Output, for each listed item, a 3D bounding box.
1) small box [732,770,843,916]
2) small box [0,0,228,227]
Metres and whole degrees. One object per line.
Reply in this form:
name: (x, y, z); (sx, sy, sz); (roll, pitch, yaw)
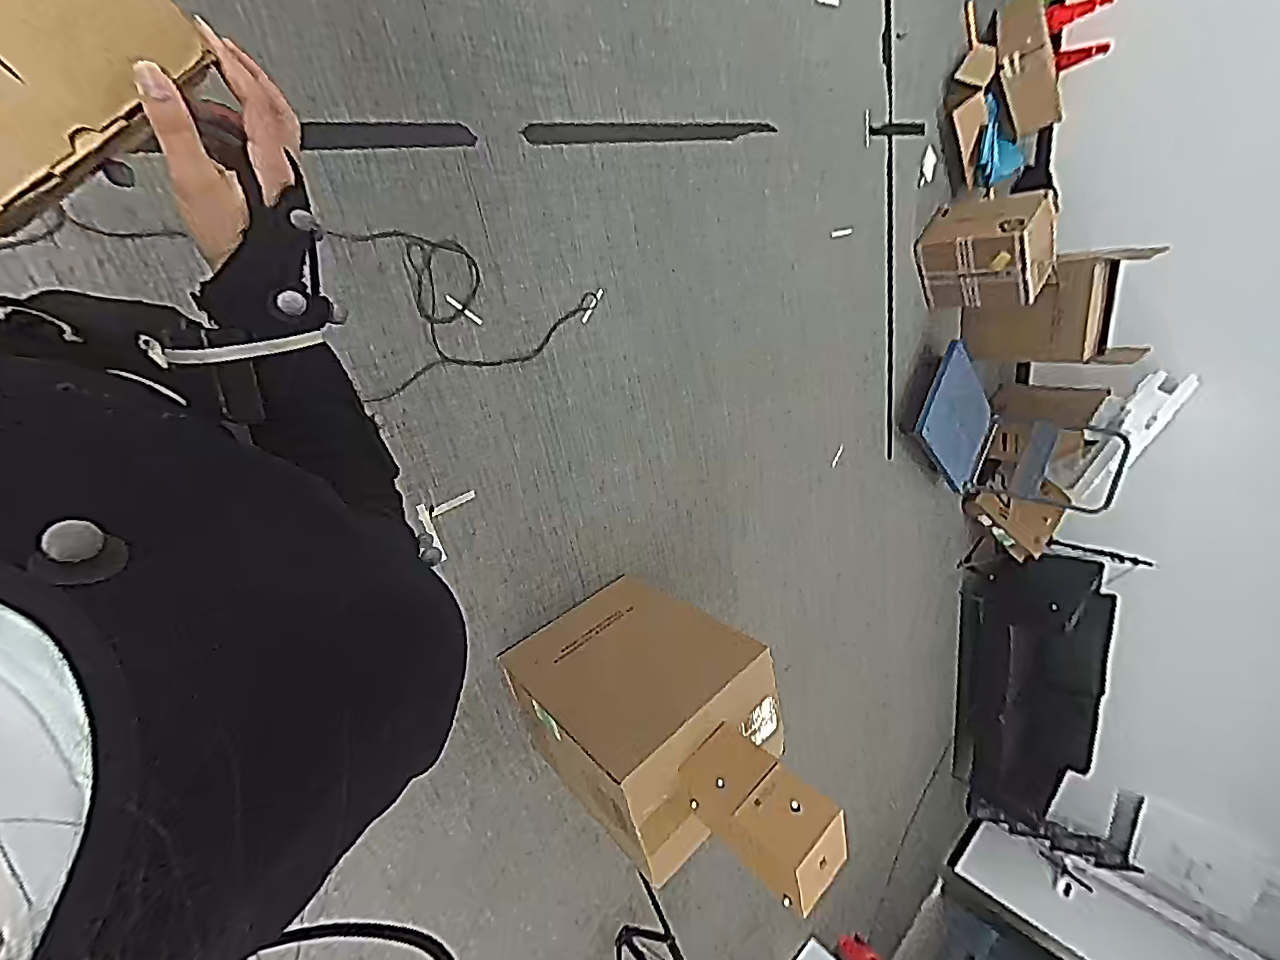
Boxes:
small box: (0.317, 0.769, 1.171); (0.168, 0.176, 0.179); (-31, 120, -31)
small box: (-0.360, -0.247, 0.271); (0.168, 0.176, 0.179); (-48, 135, -11)
